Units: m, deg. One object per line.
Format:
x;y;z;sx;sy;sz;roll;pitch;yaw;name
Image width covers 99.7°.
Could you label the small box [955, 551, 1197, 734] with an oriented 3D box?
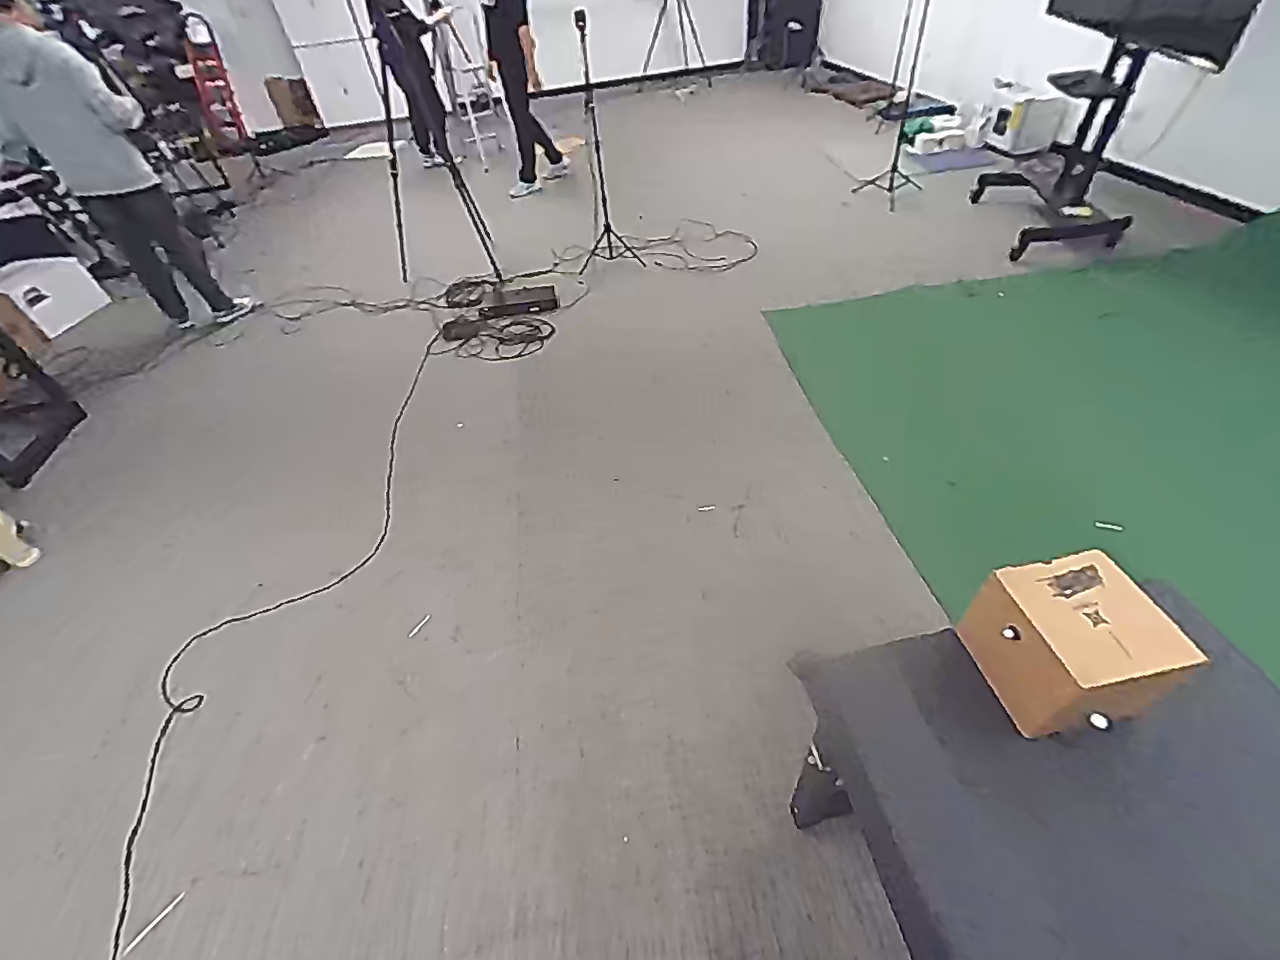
0.591;0.231;0.767;0.168;0.176;0.179;-10;47;-4;small box
